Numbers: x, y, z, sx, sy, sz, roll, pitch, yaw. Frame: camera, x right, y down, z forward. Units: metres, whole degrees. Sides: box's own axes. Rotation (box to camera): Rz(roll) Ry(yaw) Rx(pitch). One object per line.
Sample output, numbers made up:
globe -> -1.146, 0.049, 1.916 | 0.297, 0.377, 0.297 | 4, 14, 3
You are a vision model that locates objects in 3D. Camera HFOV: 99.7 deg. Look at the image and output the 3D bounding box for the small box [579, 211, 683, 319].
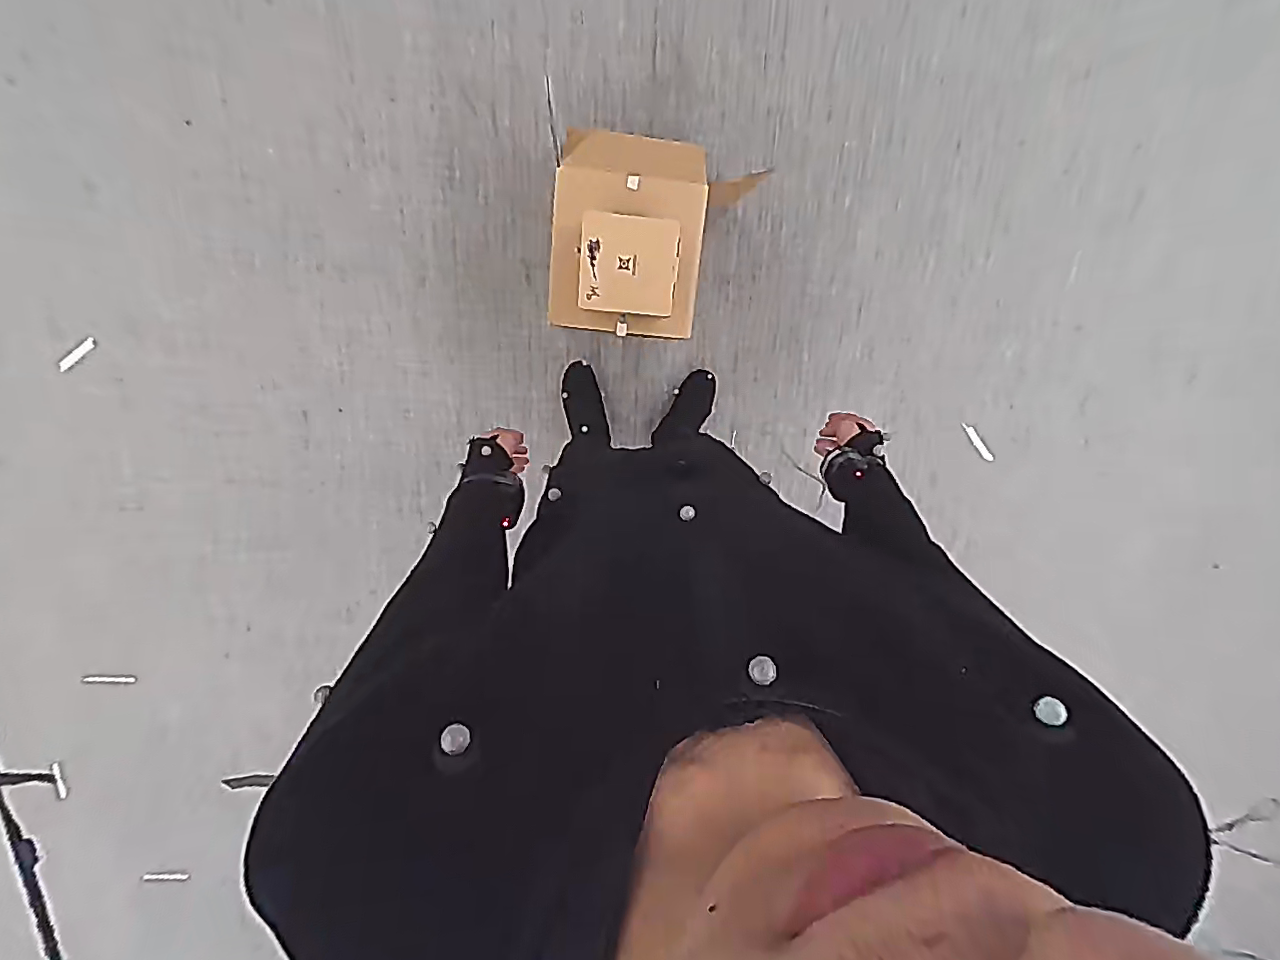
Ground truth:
small box -> -0.024, -0.406, 1.042 | 0.179, 0.176, 0.168 | 4, 106, -6
